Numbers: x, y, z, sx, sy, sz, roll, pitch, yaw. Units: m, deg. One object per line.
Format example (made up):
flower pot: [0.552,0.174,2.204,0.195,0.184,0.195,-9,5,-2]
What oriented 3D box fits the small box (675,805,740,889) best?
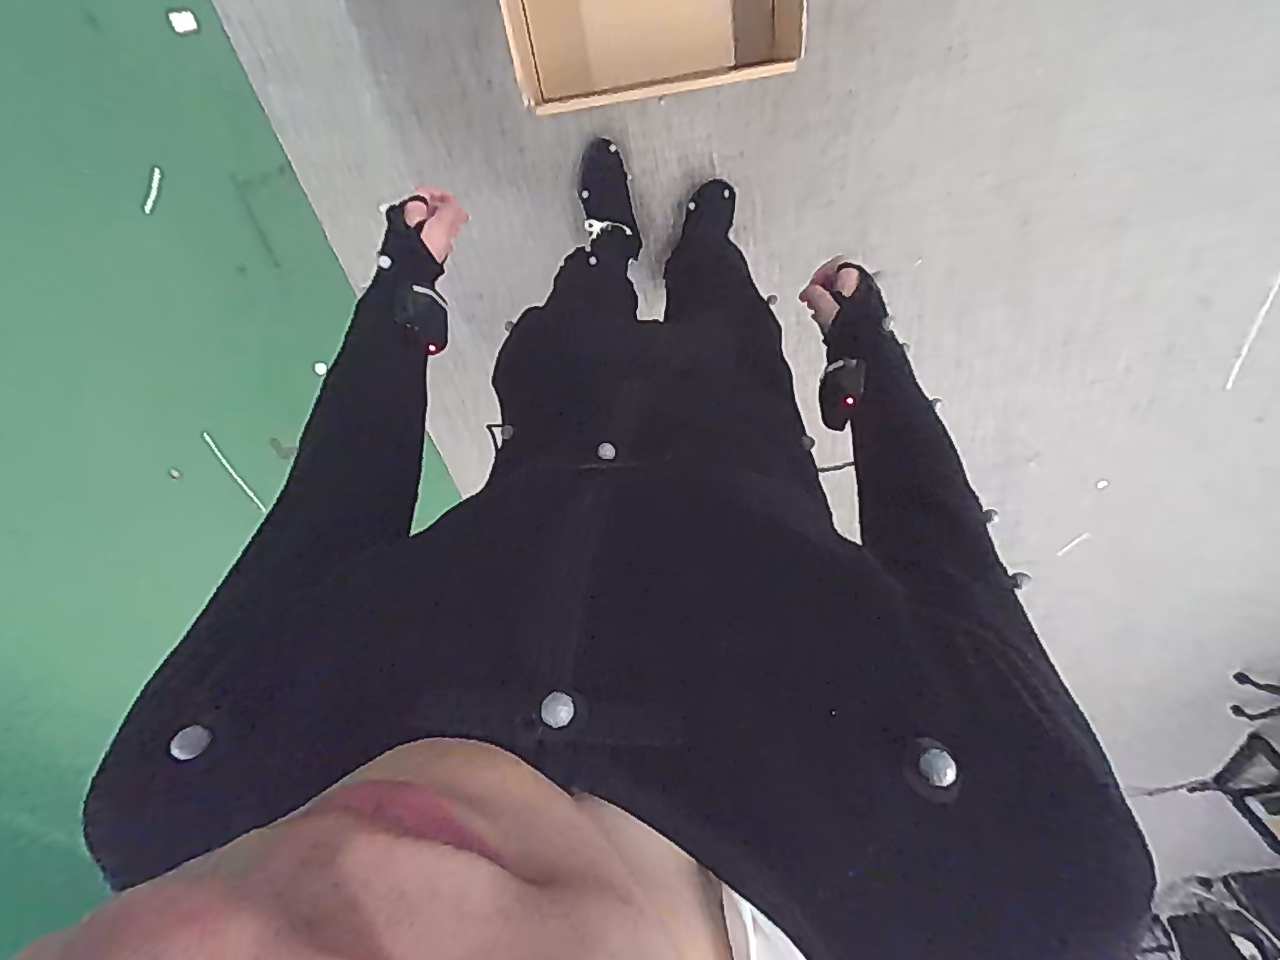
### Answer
small box: [0.210,1.146,1.690,0.168,0.176,0.179,-13,127,6]

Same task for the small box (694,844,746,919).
small box: [0.268,1.379,1.867,0.168,0.176,0.179,-8,126,3]
